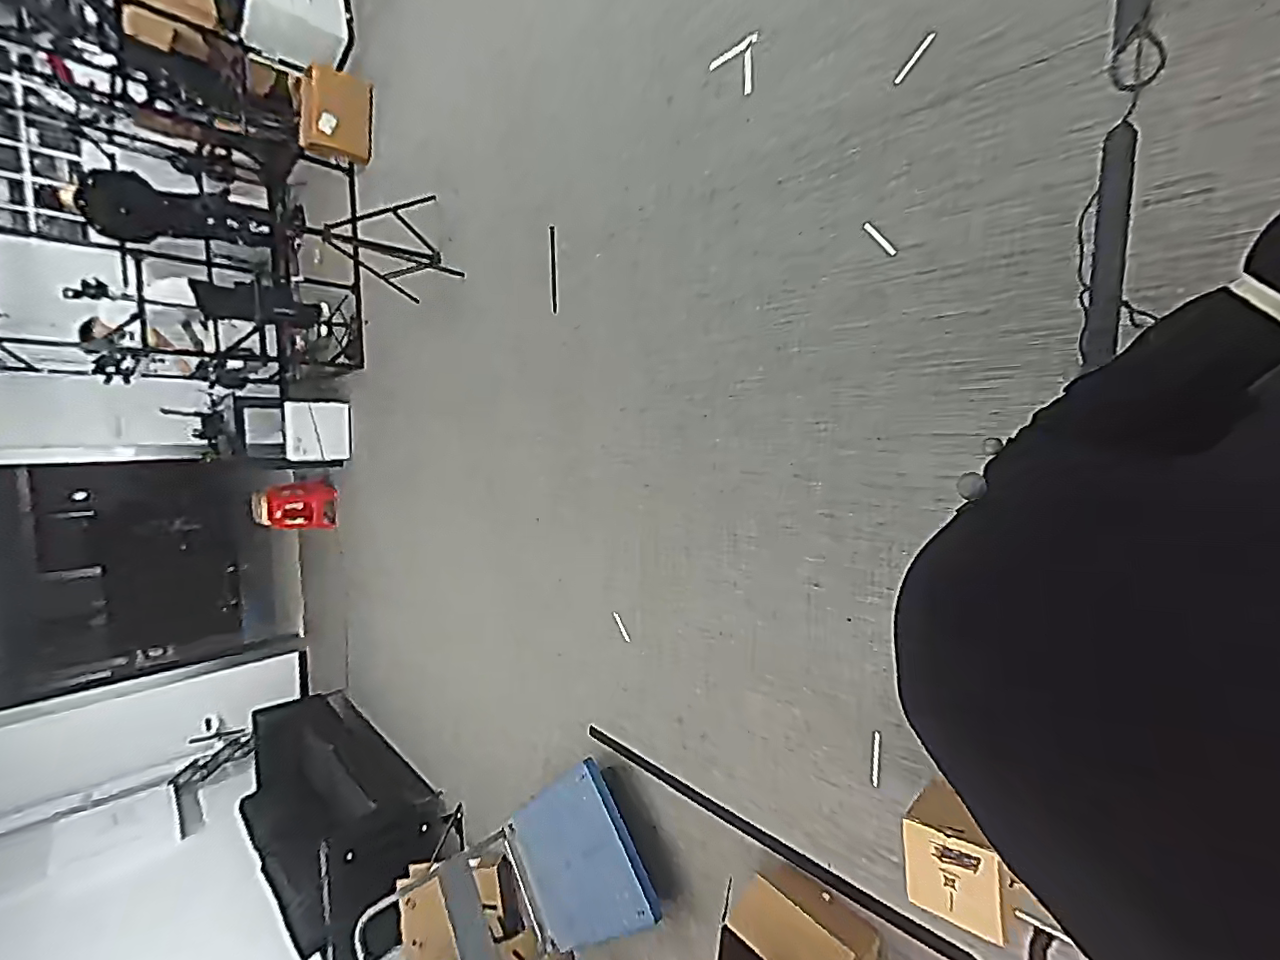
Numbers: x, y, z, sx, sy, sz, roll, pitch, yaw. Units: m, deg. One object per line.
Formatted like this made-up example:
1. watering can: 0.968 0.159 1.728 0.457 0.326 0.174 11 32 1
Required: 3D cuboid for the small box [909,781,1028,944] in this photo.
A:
1. small box: 0.654 0.739 1.074 0.168 0.176 0.179 -3 93 47
